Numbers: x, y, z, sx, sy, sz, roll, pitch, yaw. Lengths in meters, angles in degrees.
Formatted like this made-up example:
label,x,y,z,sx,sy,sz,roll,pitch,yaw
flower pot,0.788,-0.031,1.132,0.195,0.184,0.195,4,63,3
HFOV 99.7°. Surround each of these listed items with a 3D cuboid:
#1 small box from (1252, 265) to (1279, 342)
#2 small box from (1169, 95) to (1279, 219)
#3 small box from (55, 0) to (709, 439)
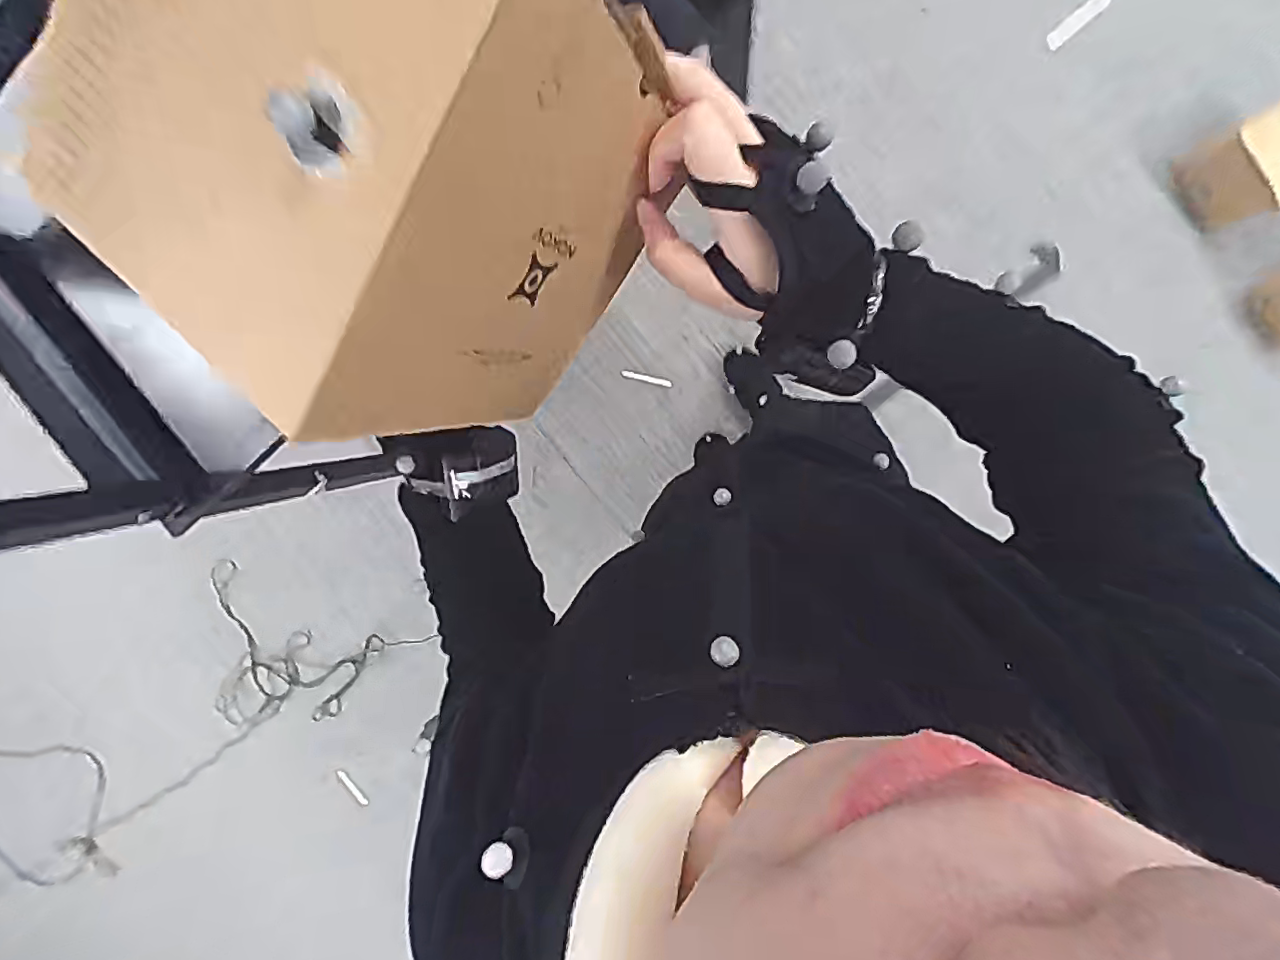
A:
label,x,y,z,sx,sy,sz,roll,pitch,yaw
small box,1.496,-0.413,1.159,0.179,0.176,0.168,-33,92,10
small box,1.307,-0.686,1.147,0.168,0.176,0.179,-34,93,10
small box,-0.097,-0.141,0.245,0.176,0.168,0.179,41,107,9
